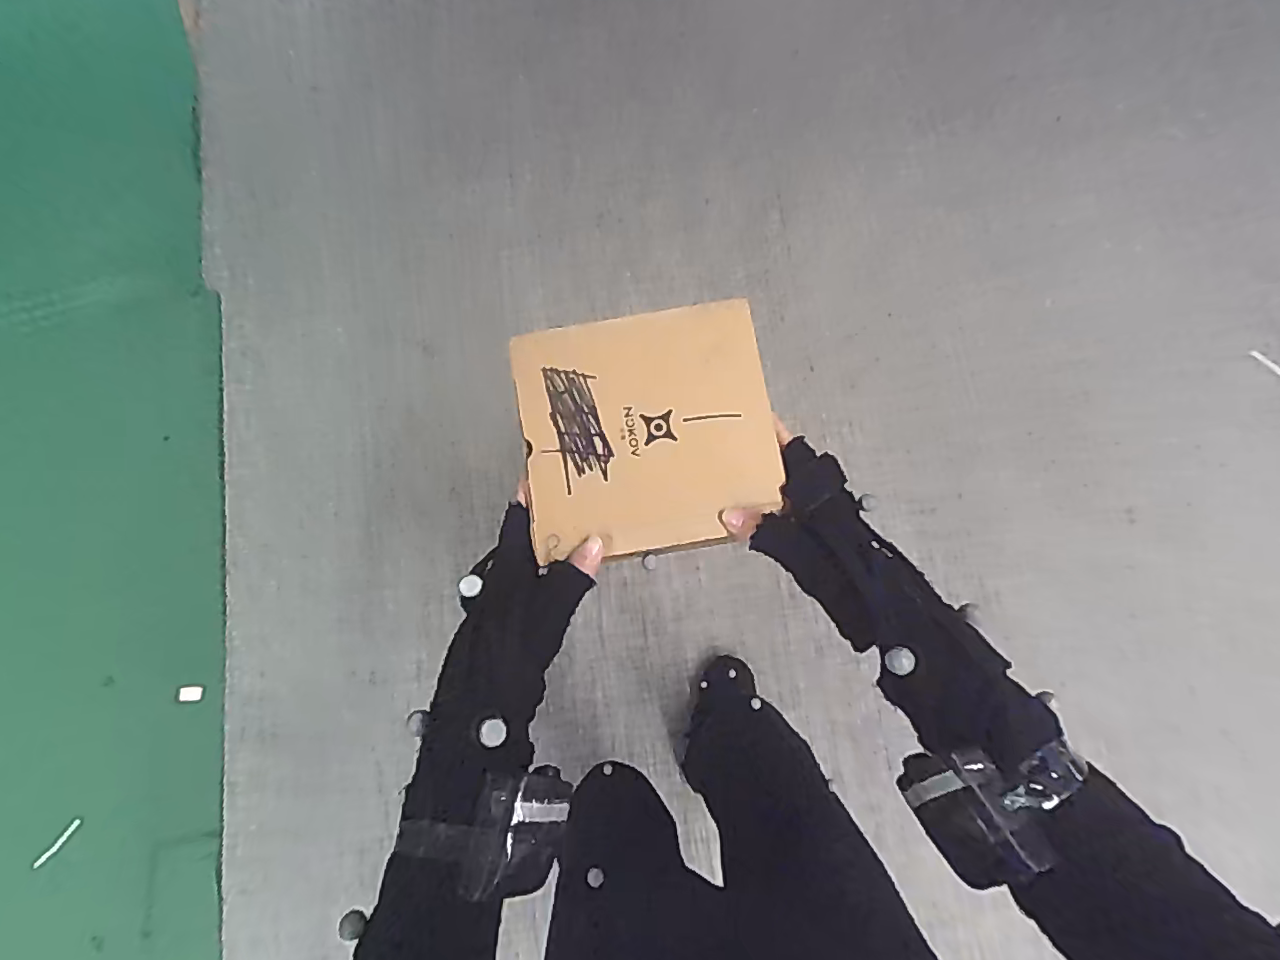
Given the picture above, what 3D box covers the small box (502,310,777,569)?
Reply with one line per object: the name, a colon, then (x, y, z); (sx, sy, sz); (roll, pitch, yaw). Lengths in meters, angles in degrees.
small box: (0.000, -0.017, 0.456); (0.179, 0.176, 0.168); (-9, 81, 0)
